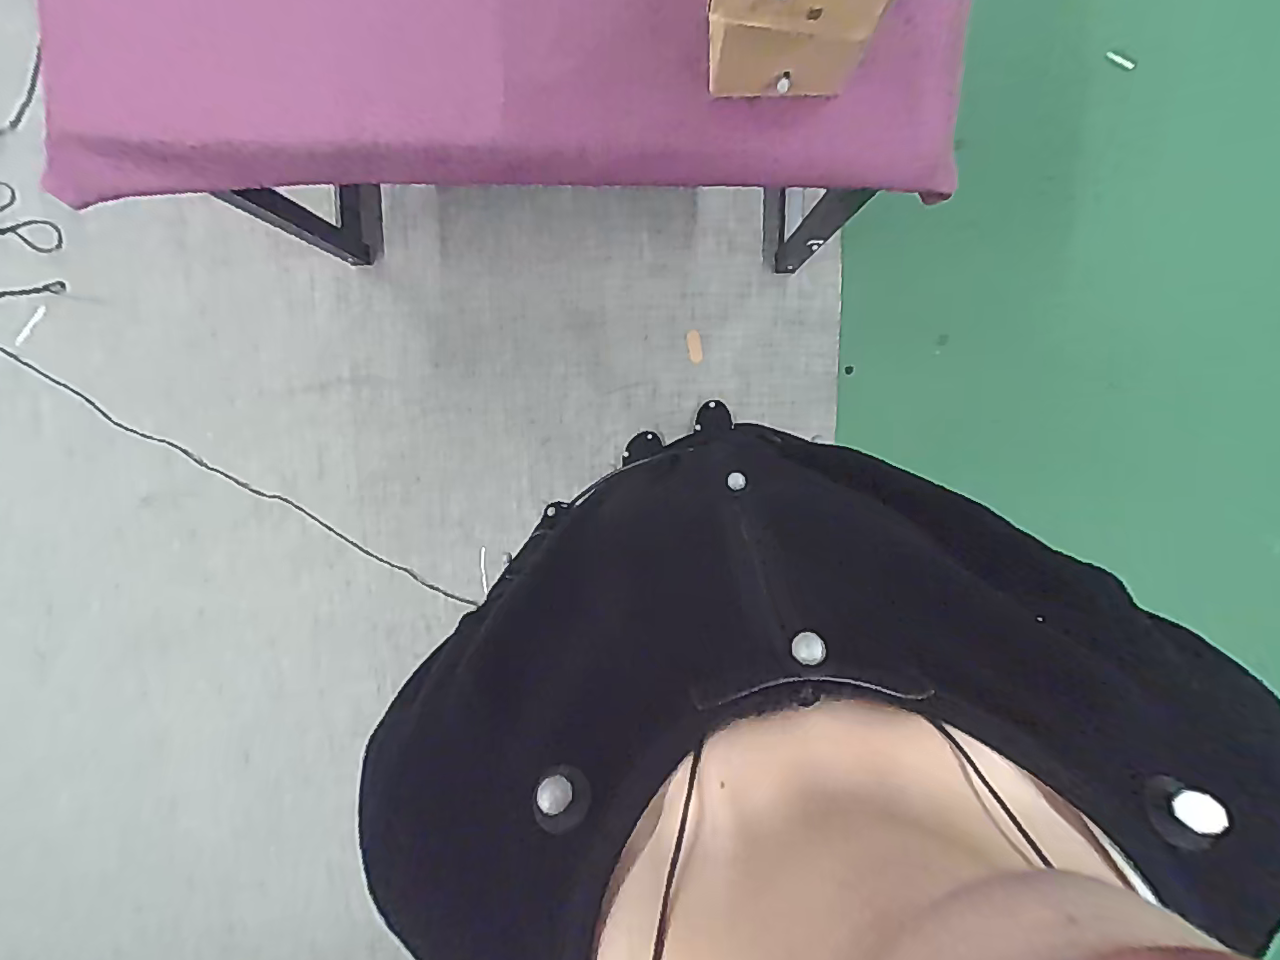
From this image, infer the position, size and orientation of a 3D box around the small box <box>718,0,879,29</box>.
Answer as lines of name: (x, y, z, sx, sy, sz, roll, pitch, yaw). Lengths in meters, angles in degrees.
small box: (0.157, -0.541, 0.456, 0.168, 0.176, 0.179, 8, 97, 1)

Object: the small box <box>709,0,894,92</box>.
small box: (0.176, -0.577, 0.615, 0.179, 0.176, 0.168, 0, 95, 2)
